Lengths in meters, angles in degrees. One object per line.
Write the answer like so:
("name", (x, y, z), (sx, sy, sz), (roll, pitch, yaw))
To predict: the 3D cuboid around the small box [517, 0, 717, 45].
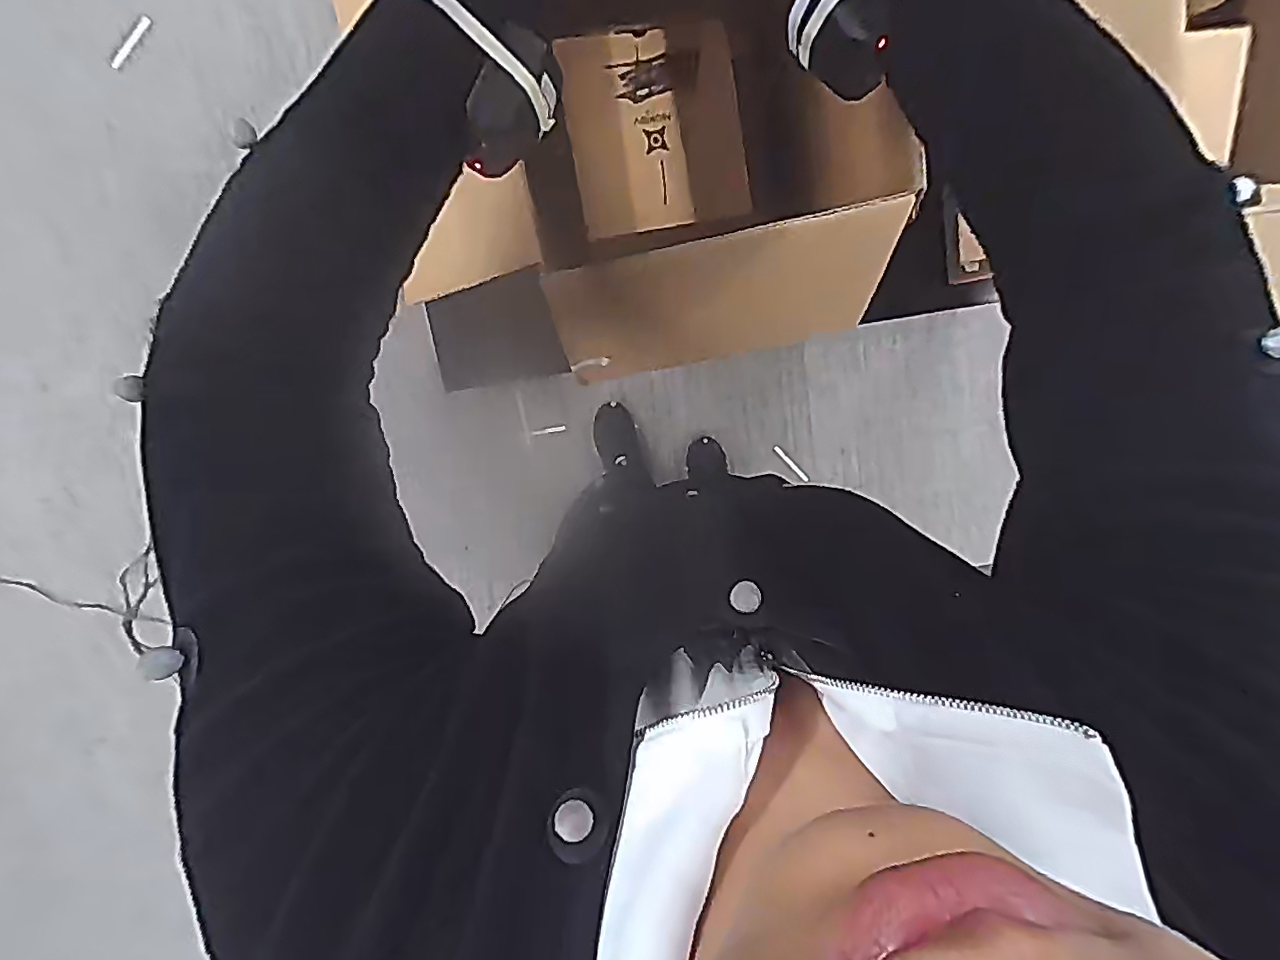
("small box", (-0.018, -0.440, 0.386), (0.179, 0.176, 0.168), (-13, 121, -2))
